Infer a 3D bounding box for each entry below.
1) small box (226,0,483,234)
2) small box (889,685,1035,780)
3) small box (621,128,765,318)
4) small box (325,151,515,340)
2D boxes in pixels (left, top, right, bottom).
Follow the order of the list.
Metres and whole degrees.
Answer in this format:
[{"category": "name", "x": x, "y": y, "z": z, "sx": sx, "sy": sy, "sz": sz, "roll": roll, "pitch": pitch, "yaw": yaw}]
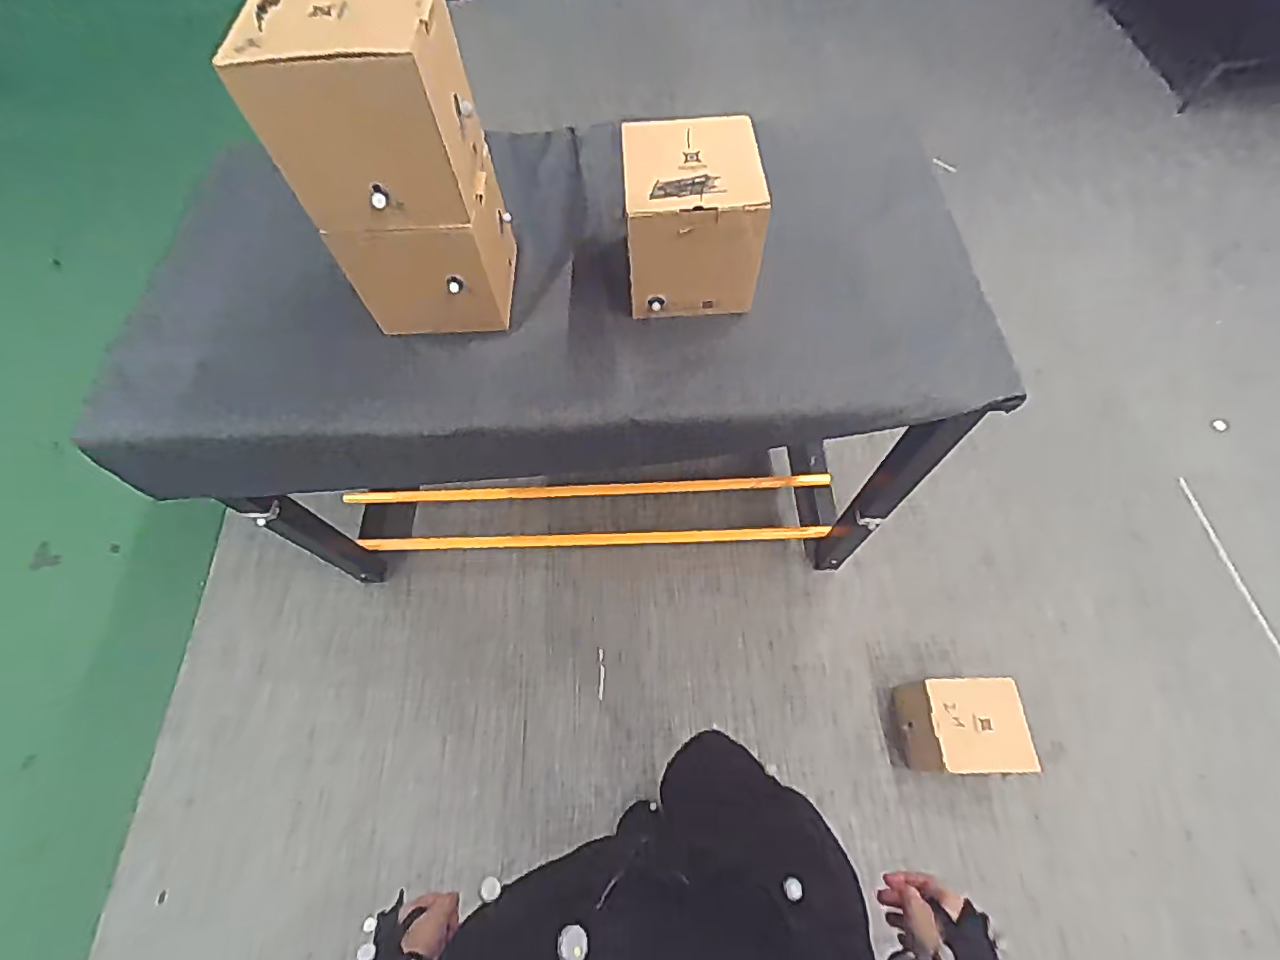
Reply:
[{"category": "small box", "x": -0.279, "y": -0.389, "z": 0.581, "sx": 0.179, "sy": 0.176, "sz": 0.168, "roll": -3, "pitch": 62, "yaw": -1}, {"category": "small box", "x": 0.636, "y": 0.510, "z": 1.091, "sx": 0.179, "sy": 0.176, "sz": 0.168, "roll": -2, "pitch": 62, "yaw": 1}, {"category": "small box", "x": 0.063, "y": -0.334, "z": 0.728, "sx": 0.168, "sy": 0.176, "sz": 0.179, "roll": -3, "pitch": 62, "yaw": 0}, {"category": "small box", "x": -0.273, "y": -0.305, "z": 0.722, "sx": 0.179, "sy": 0.176, "sz": 0.168, "roll": -3, "pitch": 61, "yaw": 1}]
